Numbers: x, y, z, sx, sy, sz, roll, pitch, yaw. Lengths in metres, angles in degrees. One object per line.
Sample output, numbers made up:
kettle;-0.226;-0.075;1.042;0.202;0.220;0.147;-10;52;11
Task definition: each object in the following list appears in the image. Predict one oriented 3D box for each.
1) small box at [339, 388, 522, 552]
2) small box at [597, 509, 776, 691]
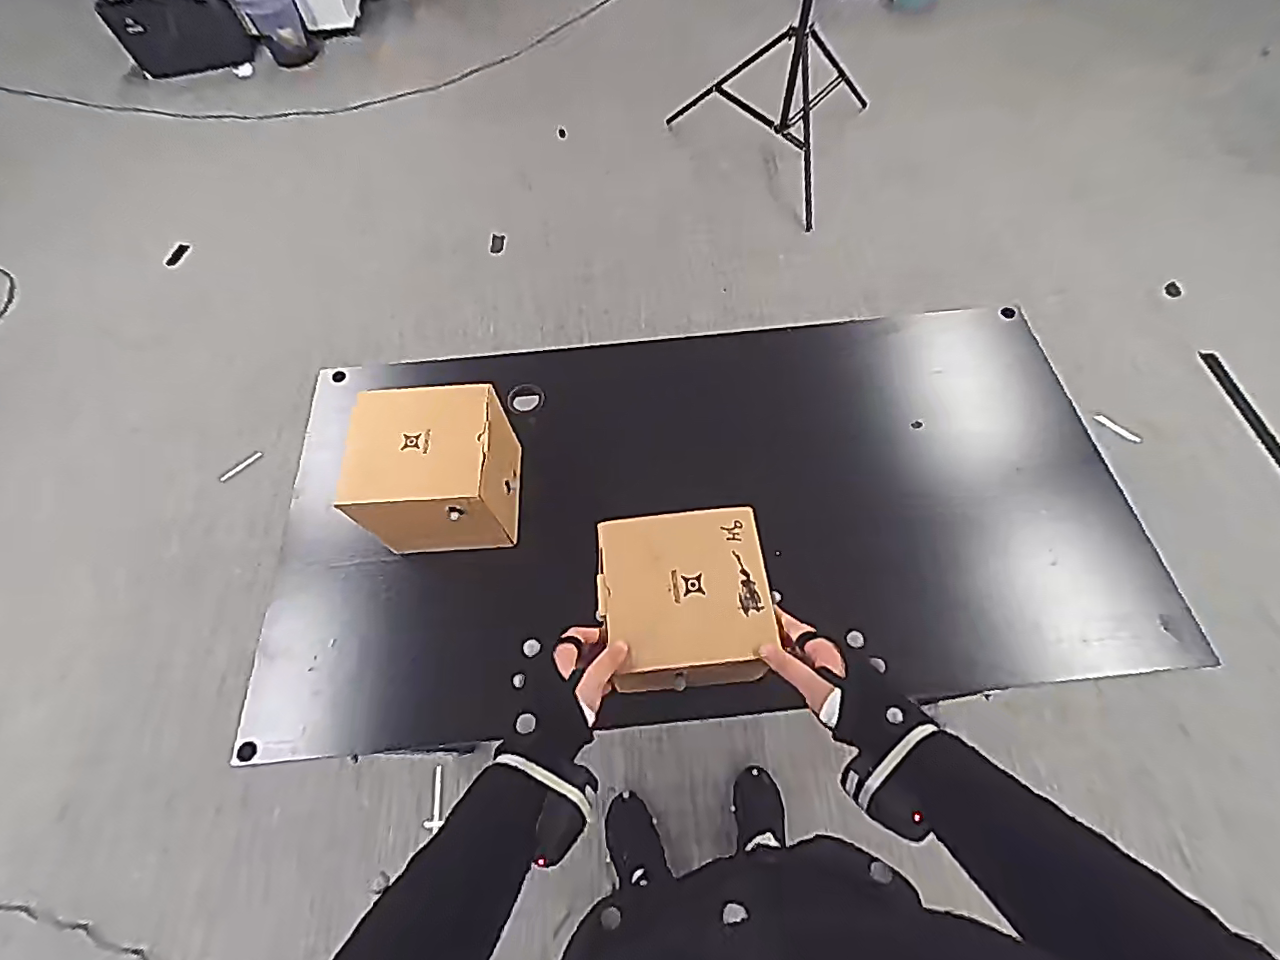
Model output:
small box;-0.271;-0.007;0.744;0.179;0.176;0.168;-4;63;-1
small box;0.050;0.151;0.649;0.179;0.176;0.168;-6;62;0
